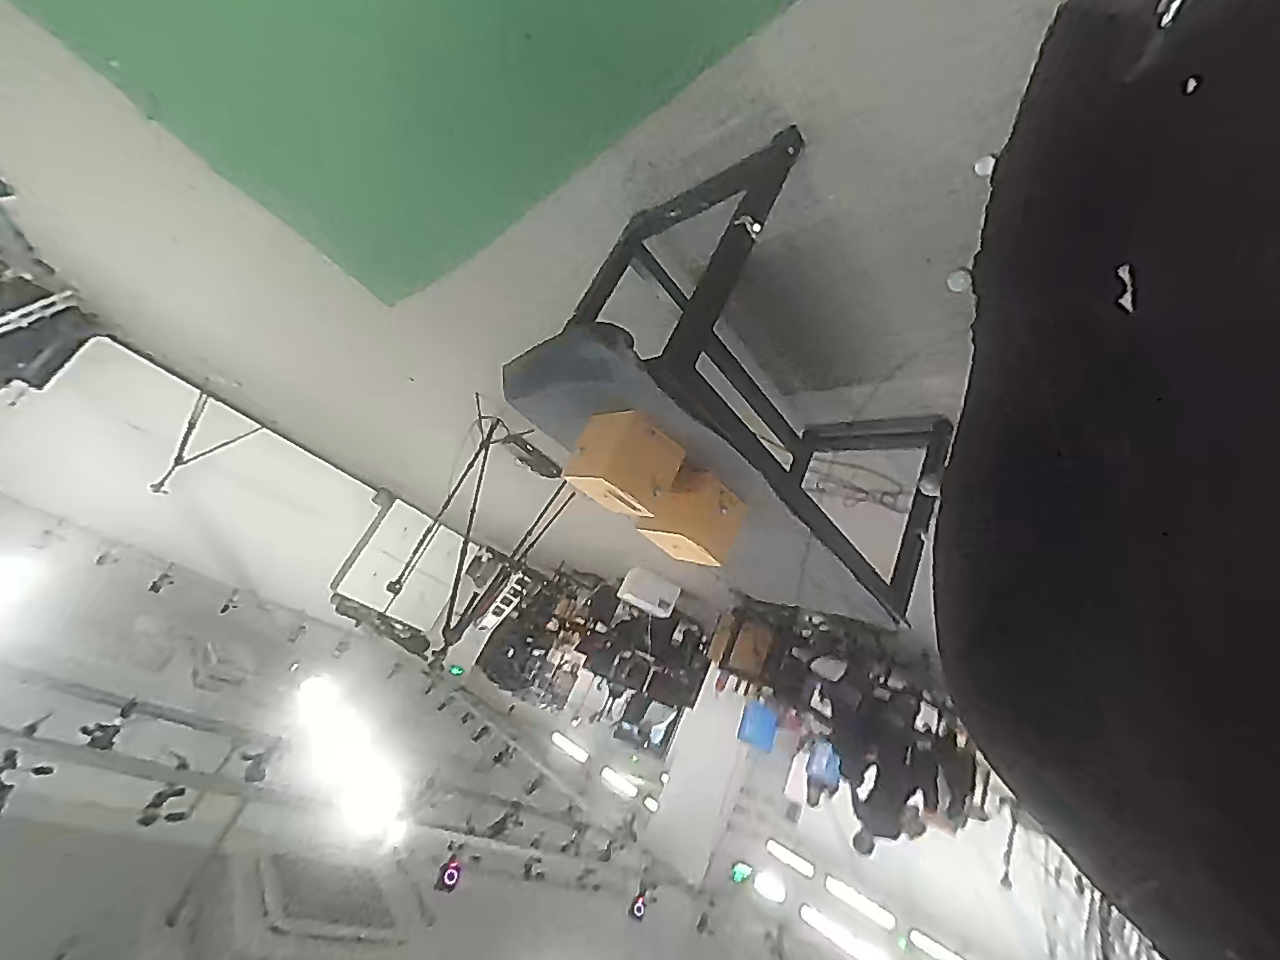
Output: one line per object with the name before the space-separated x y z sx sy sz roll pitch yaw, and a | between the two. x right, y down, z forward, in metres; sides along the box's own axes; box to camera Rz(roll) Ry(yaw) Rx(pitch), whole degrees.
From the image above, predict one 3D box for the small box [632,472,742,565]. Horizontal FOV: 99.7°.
small box | 0.119 0.089 1.328 0.168 0.176 0.179 39 156 -33
